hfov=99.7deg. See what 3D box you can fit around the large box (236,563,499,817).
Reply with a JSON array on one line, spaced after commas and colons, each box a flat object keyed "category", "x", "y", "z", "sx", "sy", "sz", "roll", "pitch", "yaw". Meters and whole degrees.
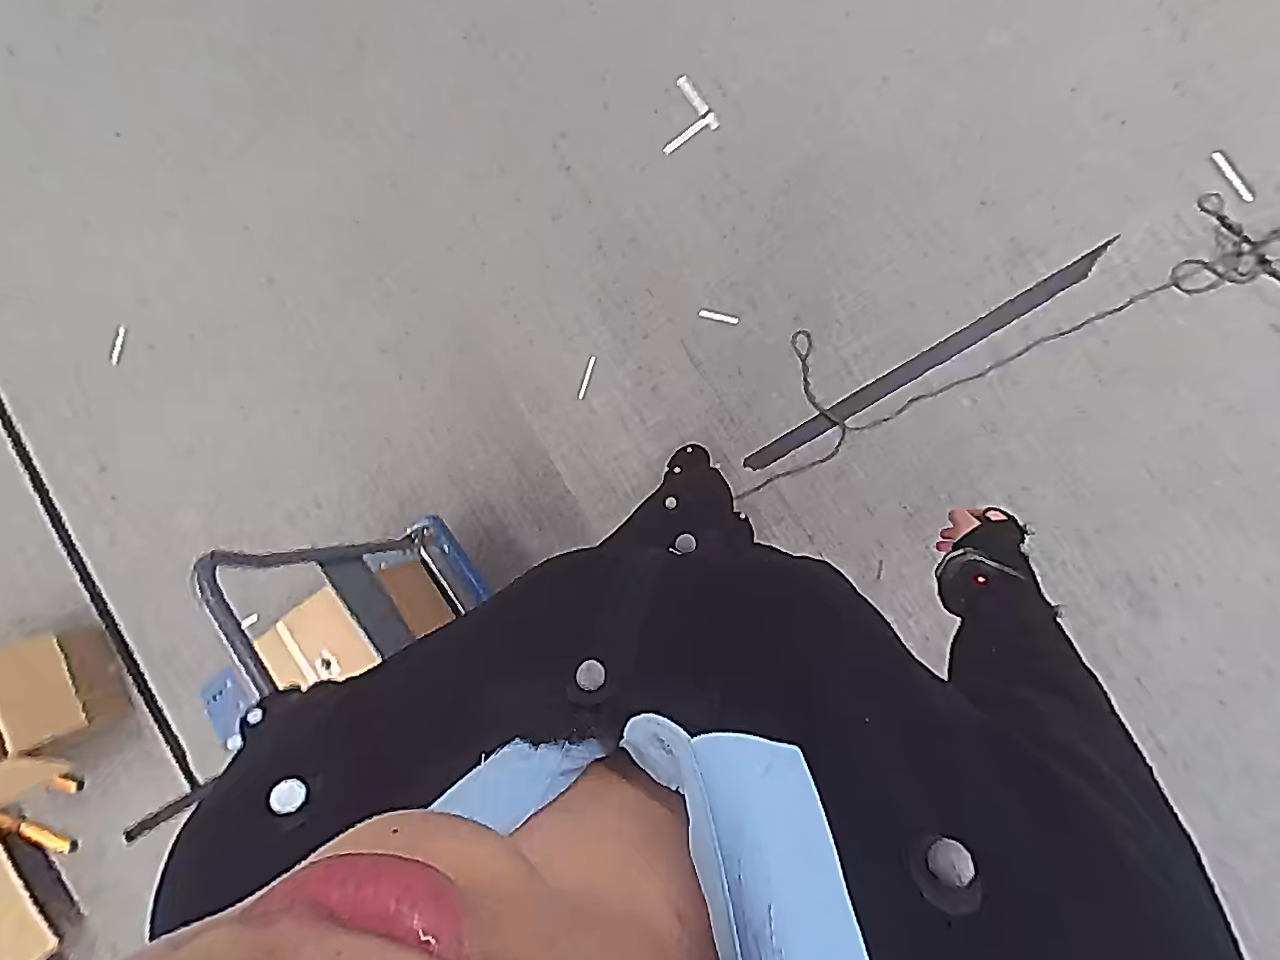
[{"category": "large box", "x": -0.611, "y": 0.459, "z": 1.270, "sx": 0.320, "sy": 0.320, "sz": 0.408, "roll": -36, "pitch": 83, "yaw": 7}]
